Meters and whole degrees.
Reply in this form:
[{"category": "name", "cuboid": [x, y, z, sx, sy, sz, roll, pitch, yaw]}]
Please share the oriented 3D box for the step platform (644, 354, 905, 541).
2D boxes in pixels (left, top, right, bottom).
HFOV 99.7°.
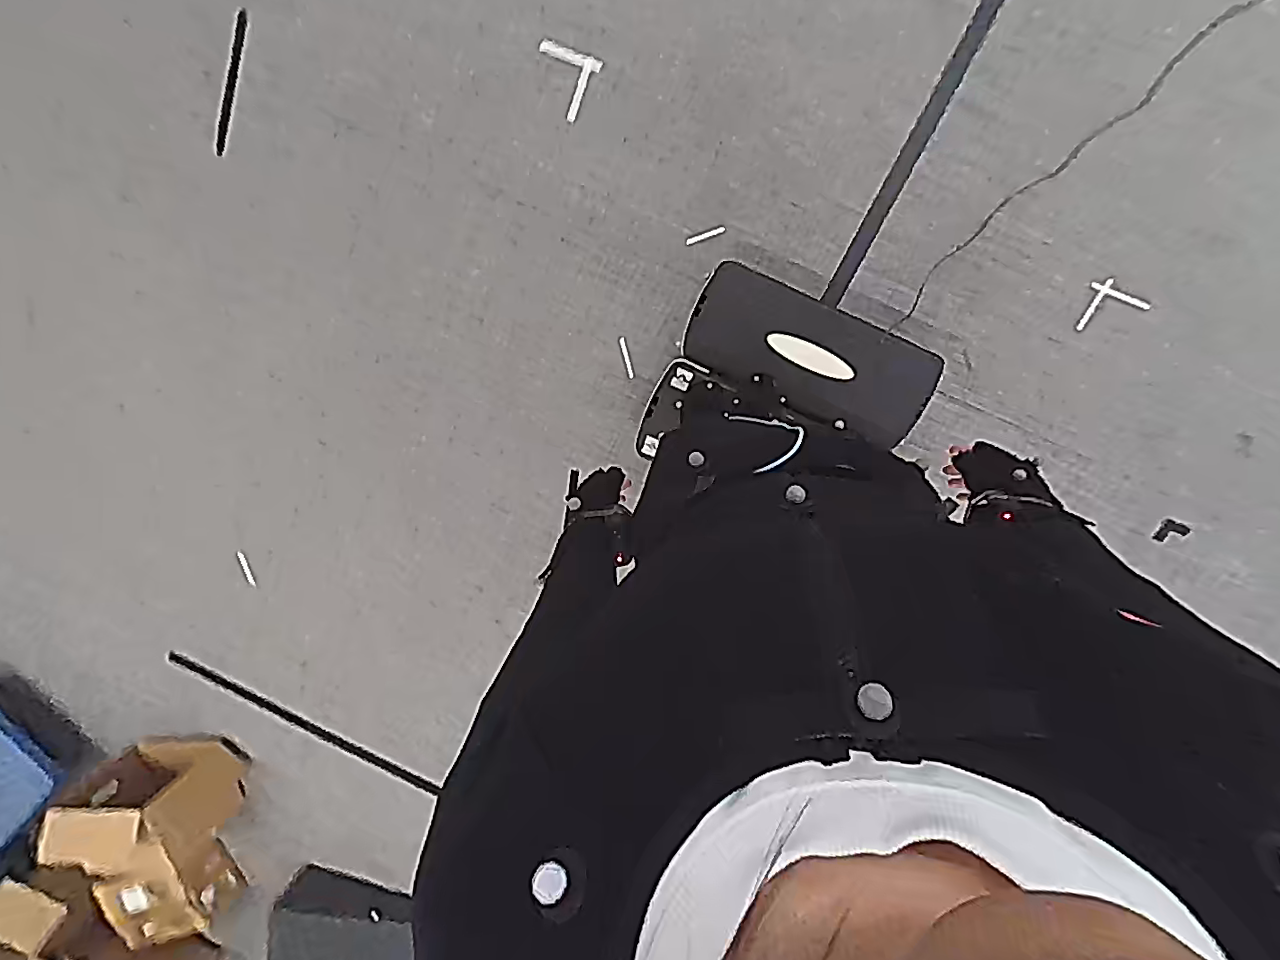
[{"category": "step platform", "cuboid": [0.358, -0.094, 1.505, 0.684, 0.204, 0.286, 24, 104, 3]}]
